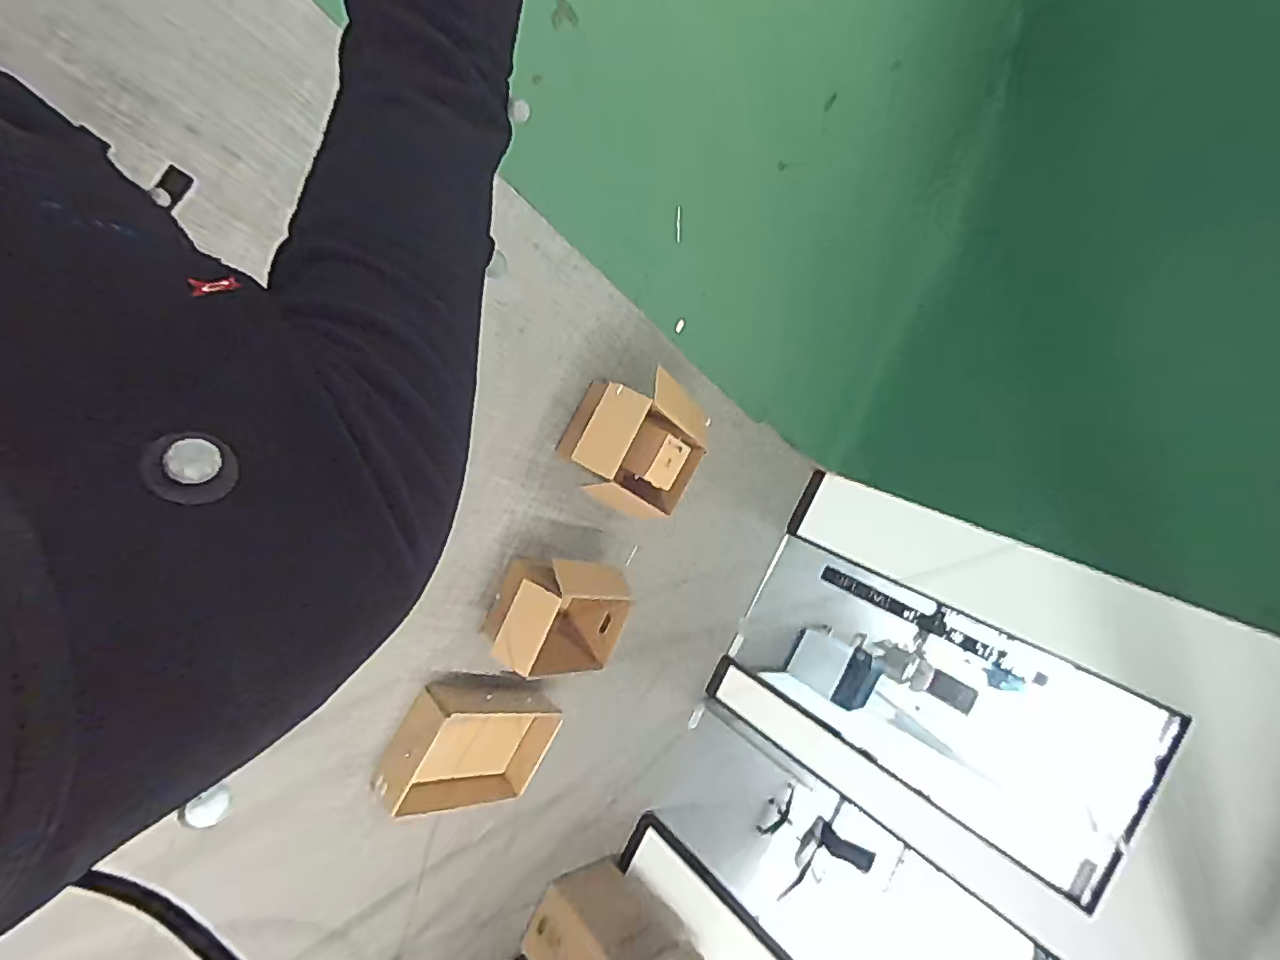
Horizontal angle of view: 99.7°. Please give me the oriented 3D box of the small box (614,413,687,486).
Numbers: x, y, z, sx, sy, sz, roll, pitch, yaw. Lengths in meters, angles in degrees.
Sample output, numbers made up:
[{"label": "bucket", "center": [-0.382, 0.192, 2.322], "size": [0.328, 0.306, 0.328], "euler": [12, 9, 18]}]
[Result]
[{"label": "small box", "center": [0.031, -0.109, 1.919], "size": [0.168, 0.176, 0.179], "euler": [29, 92, -54]}]
